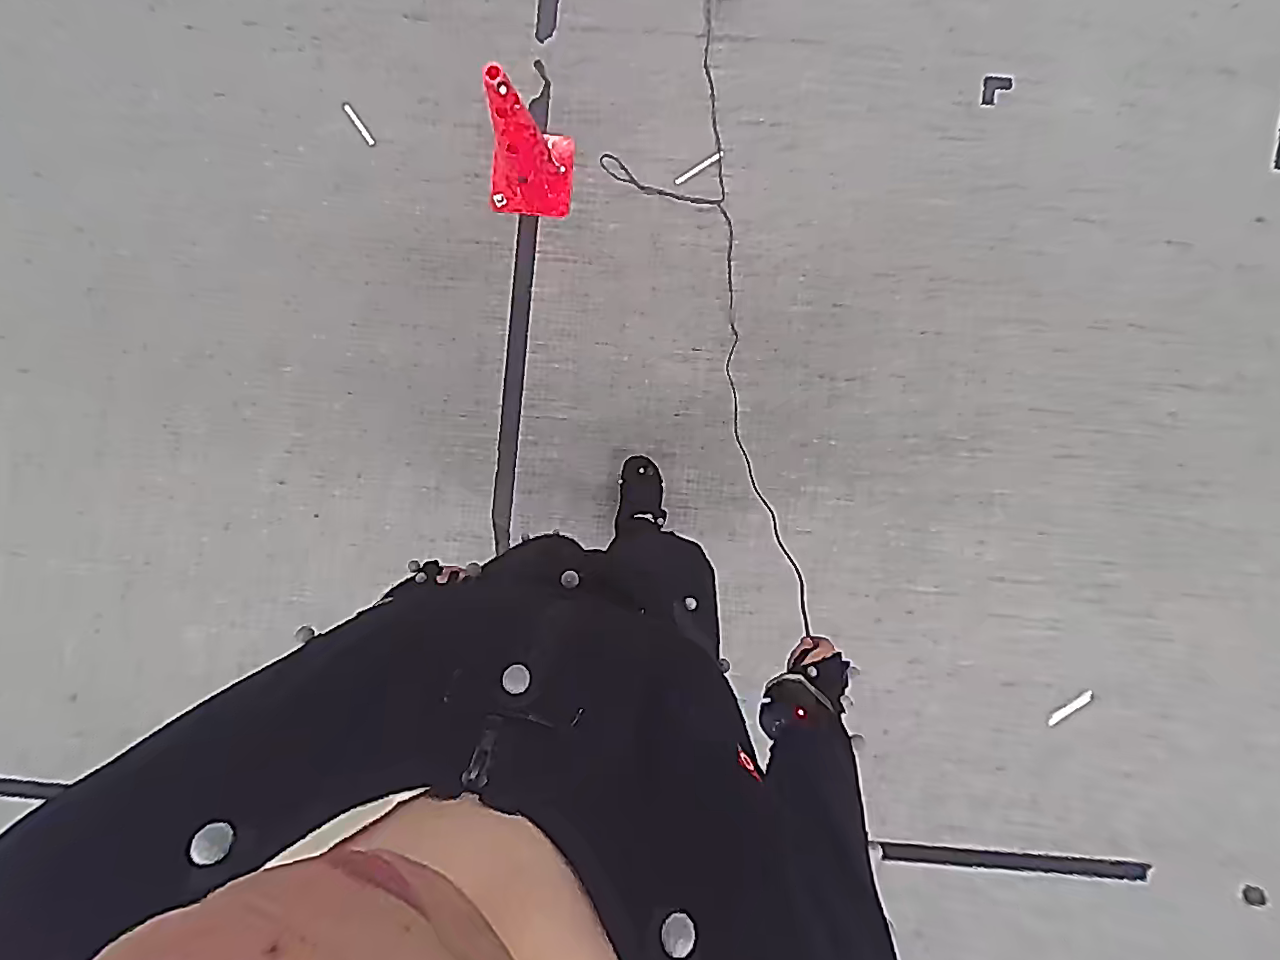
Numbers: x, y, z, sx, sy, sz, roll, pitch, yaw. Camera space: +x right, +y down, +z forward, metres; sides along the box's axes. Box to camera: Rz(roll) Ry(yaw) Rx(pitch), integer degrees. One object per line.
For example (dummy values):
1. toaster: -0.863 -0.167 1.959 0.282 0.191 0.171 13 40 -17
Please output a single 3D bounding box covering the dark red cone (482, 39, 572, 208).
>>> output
1. dark red cone: -0.267 -0.762 1.149 0.201 0.394 0.202 4 92 -1
